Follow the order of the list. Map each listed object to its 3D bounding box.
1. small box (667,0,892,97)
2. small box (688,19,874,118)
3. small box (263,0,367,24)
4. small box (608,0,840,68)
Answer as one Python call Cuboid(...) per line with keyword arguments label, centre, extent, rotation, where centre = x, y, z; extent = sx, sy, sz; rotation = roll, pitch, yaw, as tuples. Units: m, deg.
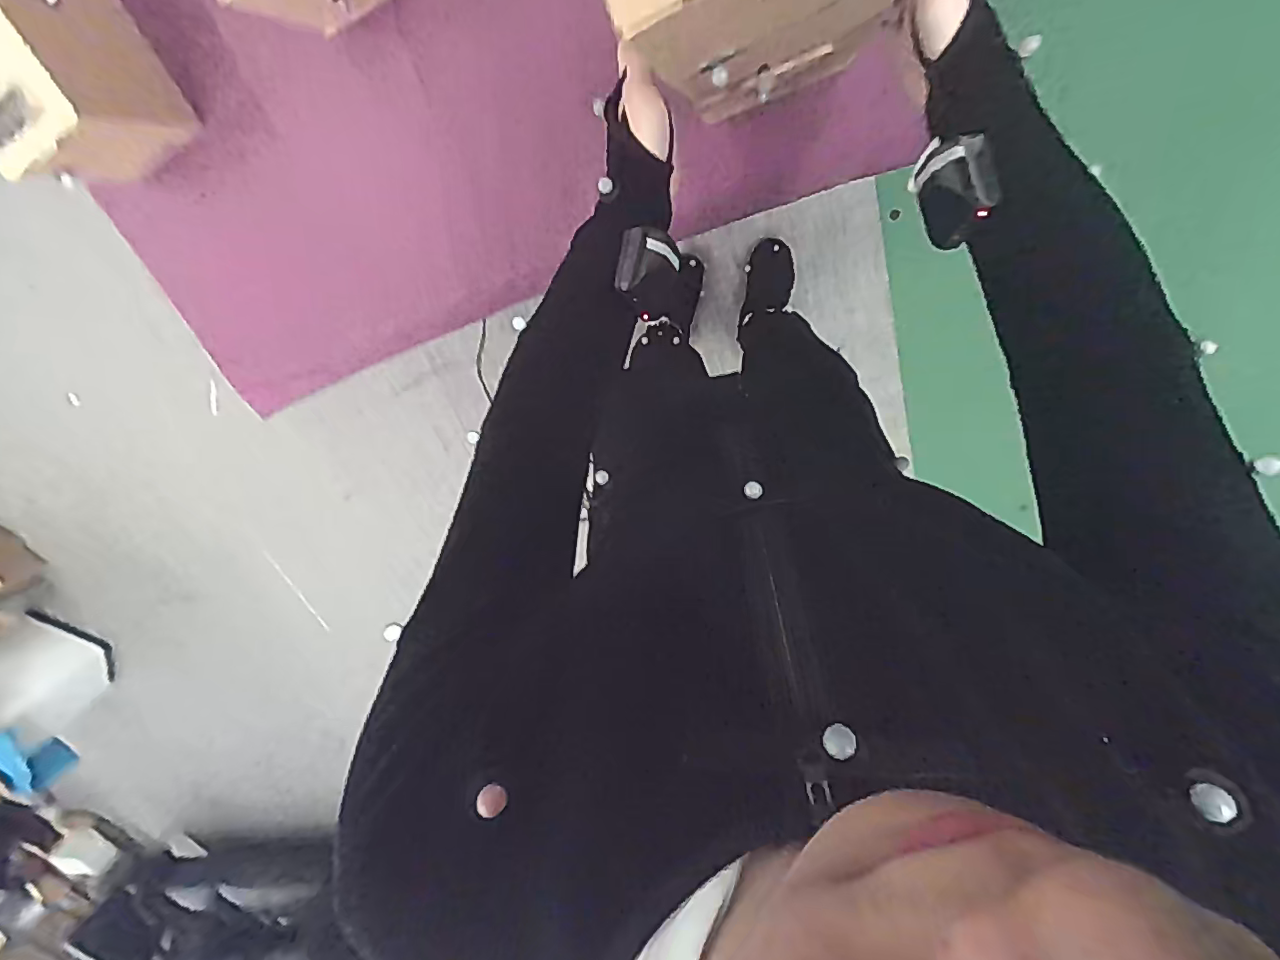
Cuboid(label="small box", centre=(0.083, -0.406, 0.380), extent=(0.168, 0.176, 0.179), rotation=(-12, 117, 19))
Cuboid(label="small box", centre=(0.115, -0.482, 0.521), extent=(0.168, 0.176, 0.179), rotation=(-12, 116, 19))
Cuboid(label="small box", centre=(-0.364, -0.610, 0.543), extent=(0.168, 0.176, 0.179), rotation=(-13, 118, 18))
Cuboid(label="small box", centre=(0.052, -0.321, 0.243), extent=(0.168, 0.176, 0.179), rotation=(-14, 115, 20))
